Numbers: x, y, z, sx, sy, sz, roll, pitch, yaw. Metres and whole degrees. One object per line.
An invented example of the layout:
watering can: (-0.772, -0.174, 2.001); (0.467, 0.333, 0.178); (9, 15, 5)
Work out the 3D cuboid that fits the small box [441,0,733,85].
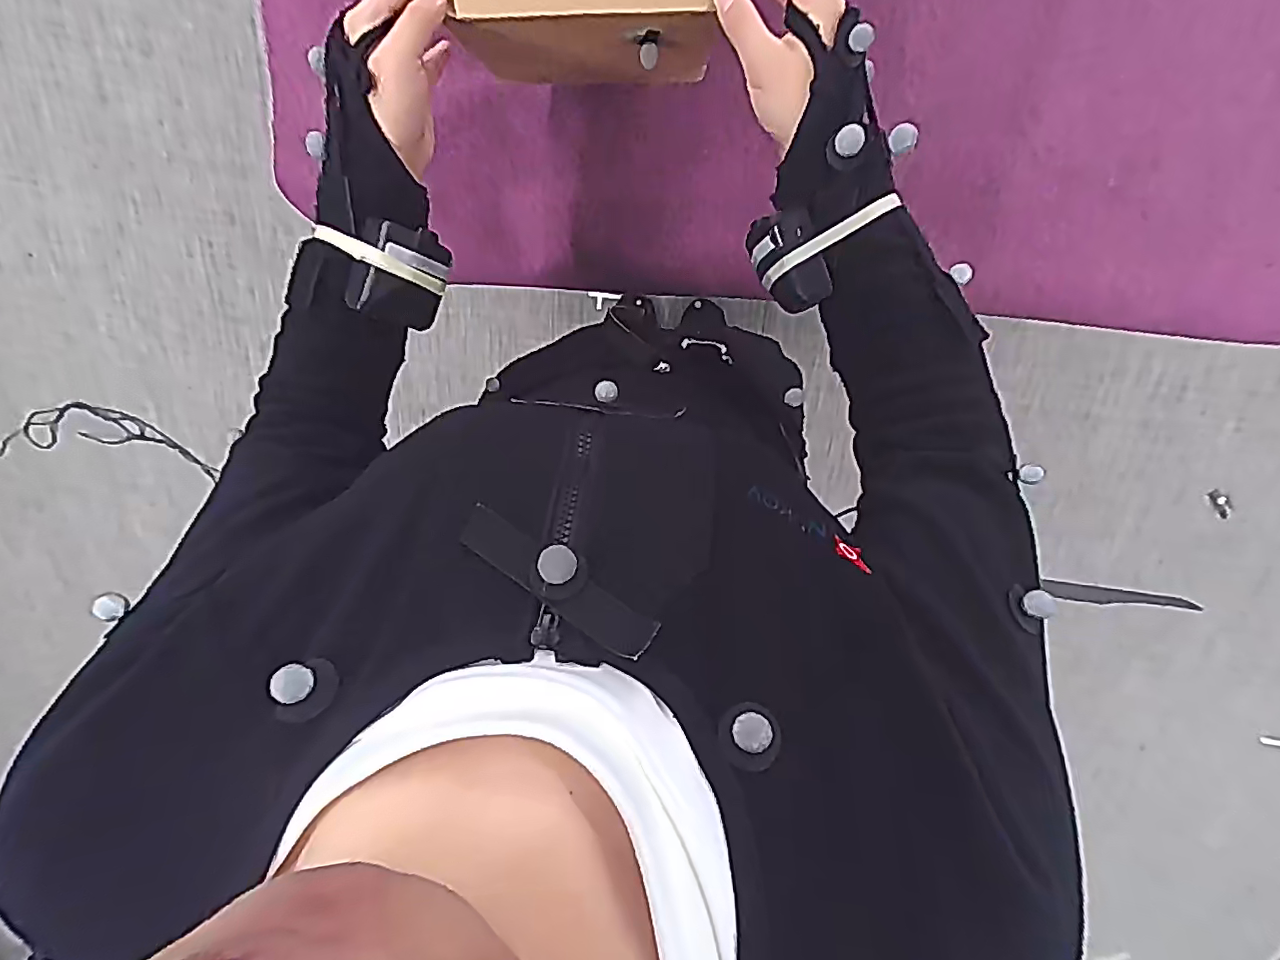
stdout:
small box: (-0.032, -0.384, 0.361); (0.179, 0.176, 0.168); (0, 115, 1)
